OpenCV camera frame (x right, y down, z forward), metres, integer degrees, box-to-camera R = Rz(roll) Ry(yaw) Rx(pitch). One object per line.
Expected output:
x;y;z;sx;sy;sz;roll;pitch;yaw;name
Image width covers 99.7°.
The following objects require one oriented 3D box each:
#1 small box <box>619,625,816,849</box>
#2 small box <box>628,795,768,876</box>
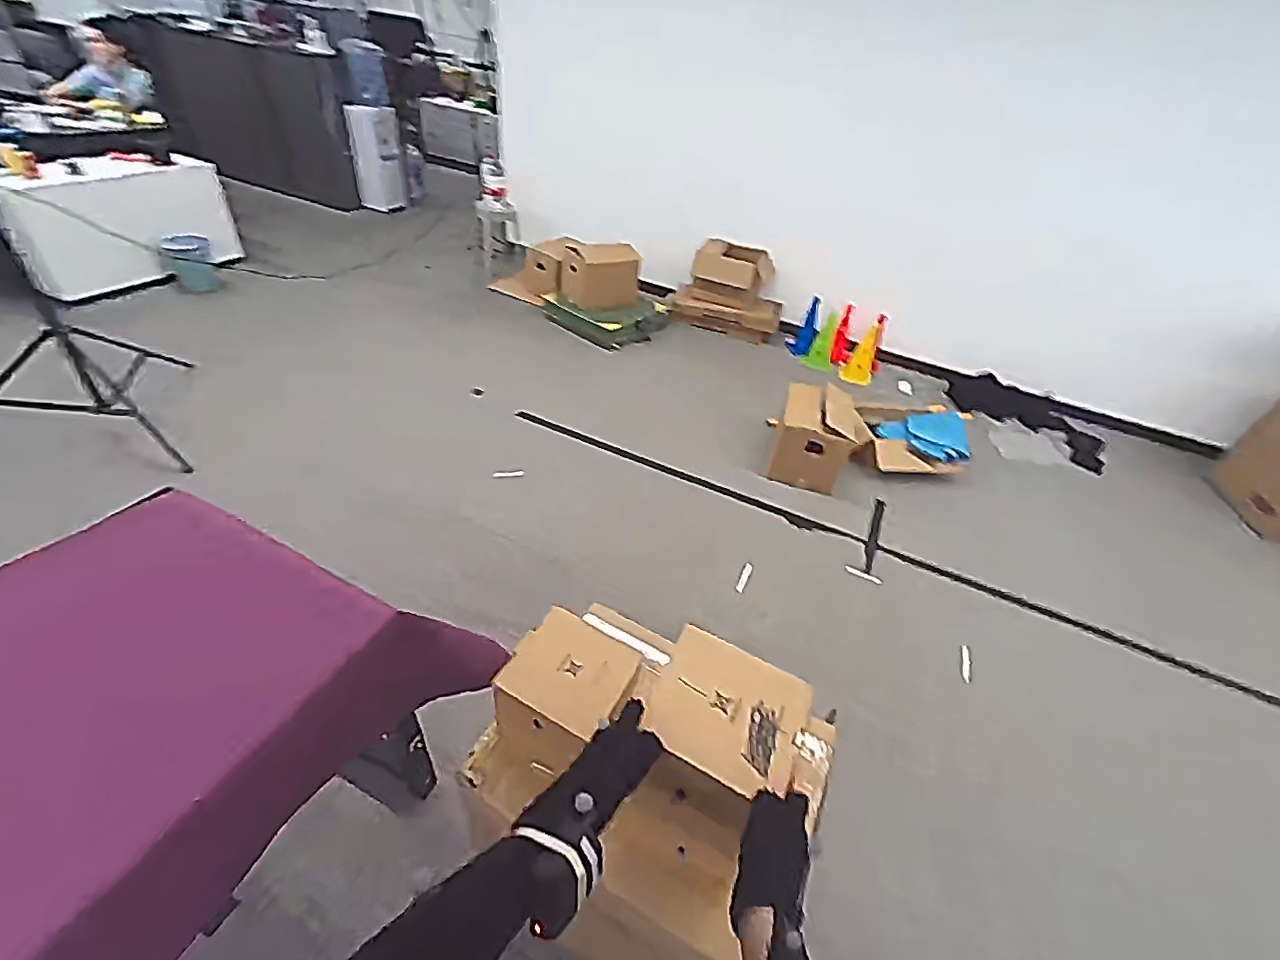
0.092;0.326;0.680;0.179;0.176;0.168;25;42;15;small box
0.094;0.450;0.801;0.179;0.176;0.168;18;41;12;small box
